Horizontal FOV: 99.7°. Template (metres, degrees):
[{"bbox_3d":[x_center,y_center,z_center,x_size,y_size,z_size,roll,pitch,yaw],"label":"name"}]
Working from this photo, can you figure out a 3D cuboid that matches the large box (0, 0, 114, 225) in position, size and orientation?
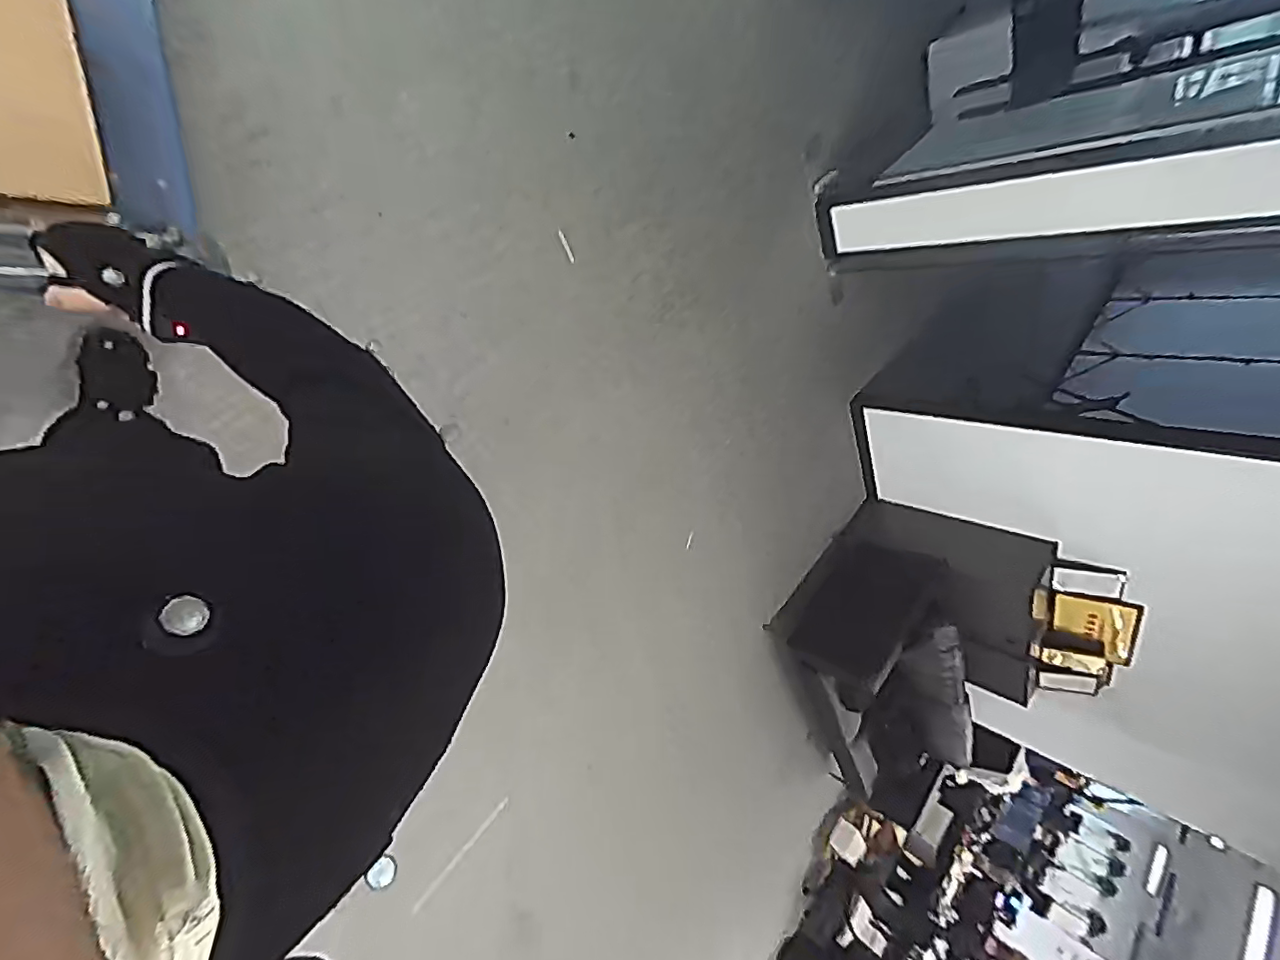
[{"bbox_3d":[-0.987,-0.598,0.740,0.320,0.320,0.408,-13,111,-40],"label":"large box"}]
